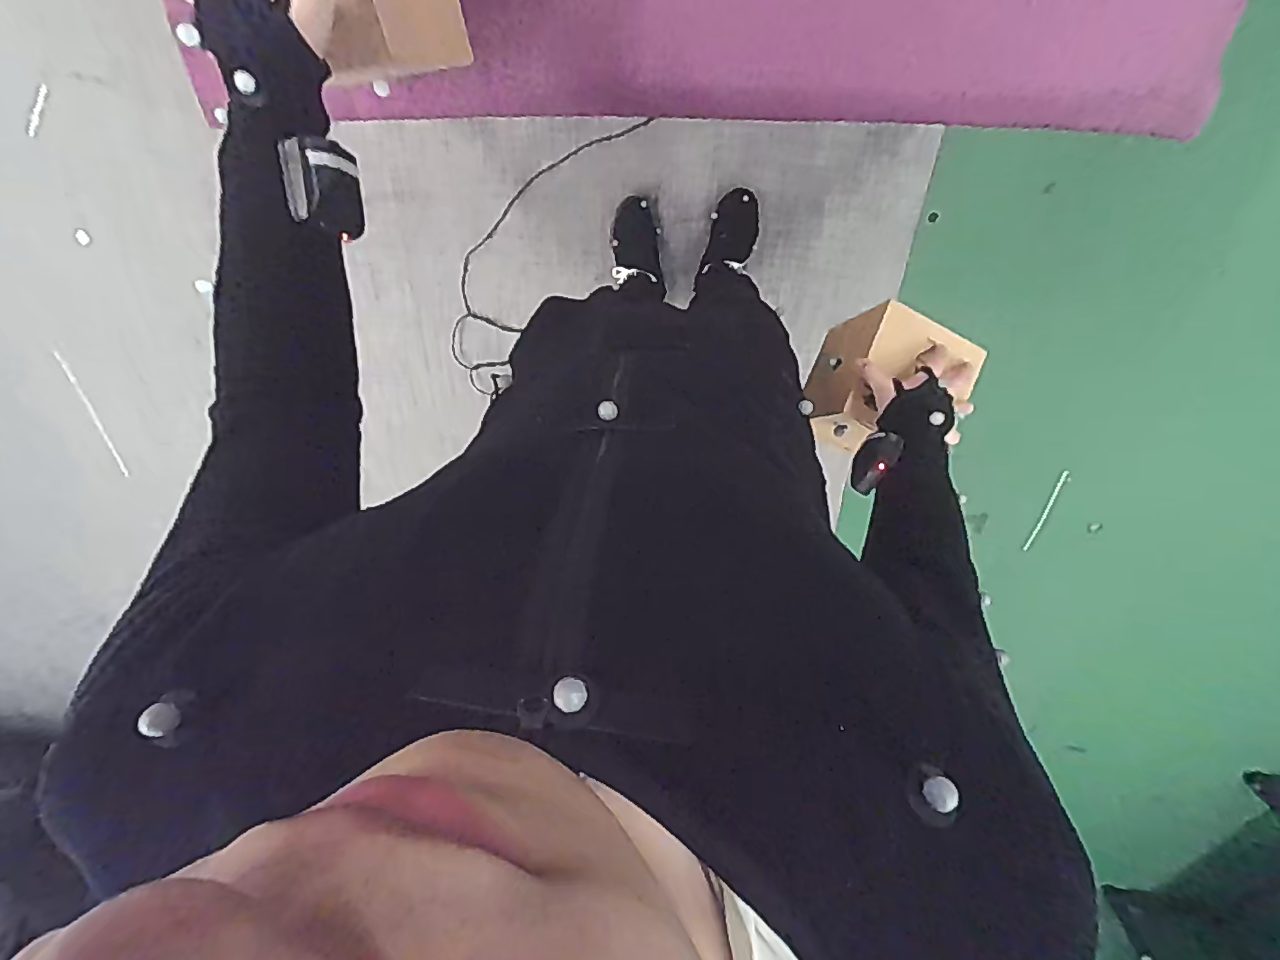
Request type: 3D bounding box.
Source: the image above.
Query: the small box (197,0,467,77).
[{"bbox_3d":[-0.282,-0.479,0.483,0.168,0.176,0.179,1,128,12],"label":"small box"}]

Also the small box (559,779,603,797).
[{"bbox_3d":[-0.230,1.244,2.004,0.168,0.176,0.179,5,120,0],"label":"small box"}]
